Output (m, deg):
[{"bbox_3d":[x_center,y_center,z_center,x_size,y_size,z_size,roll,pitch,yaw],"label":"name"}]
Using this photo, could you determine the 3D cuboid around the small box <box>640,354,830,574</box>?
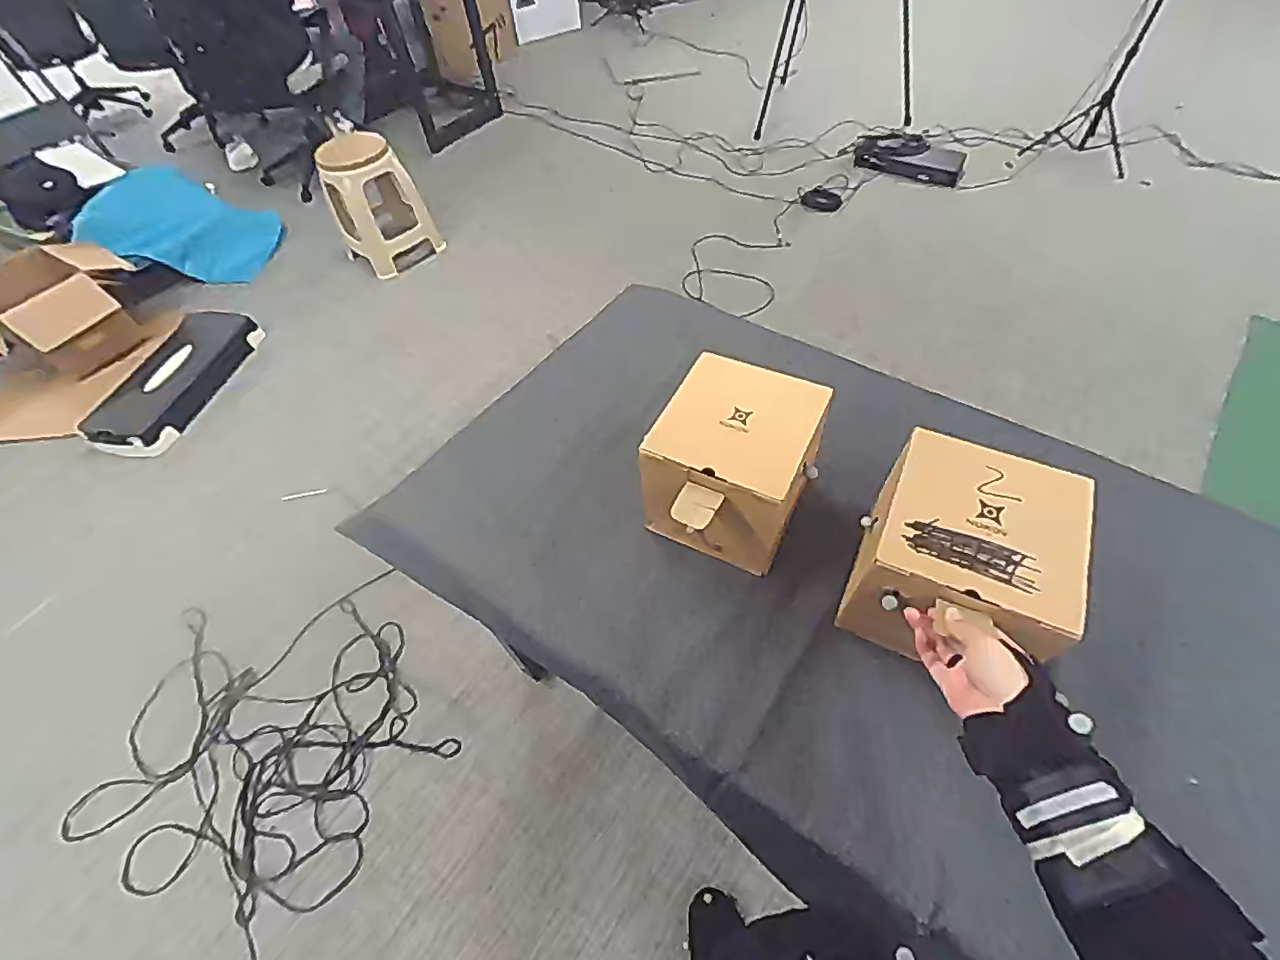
[{"bbox_3d":[0.111,-0.018,0.664,0.168,0.176,0.179,21,59,18],"label":"small box"}]
